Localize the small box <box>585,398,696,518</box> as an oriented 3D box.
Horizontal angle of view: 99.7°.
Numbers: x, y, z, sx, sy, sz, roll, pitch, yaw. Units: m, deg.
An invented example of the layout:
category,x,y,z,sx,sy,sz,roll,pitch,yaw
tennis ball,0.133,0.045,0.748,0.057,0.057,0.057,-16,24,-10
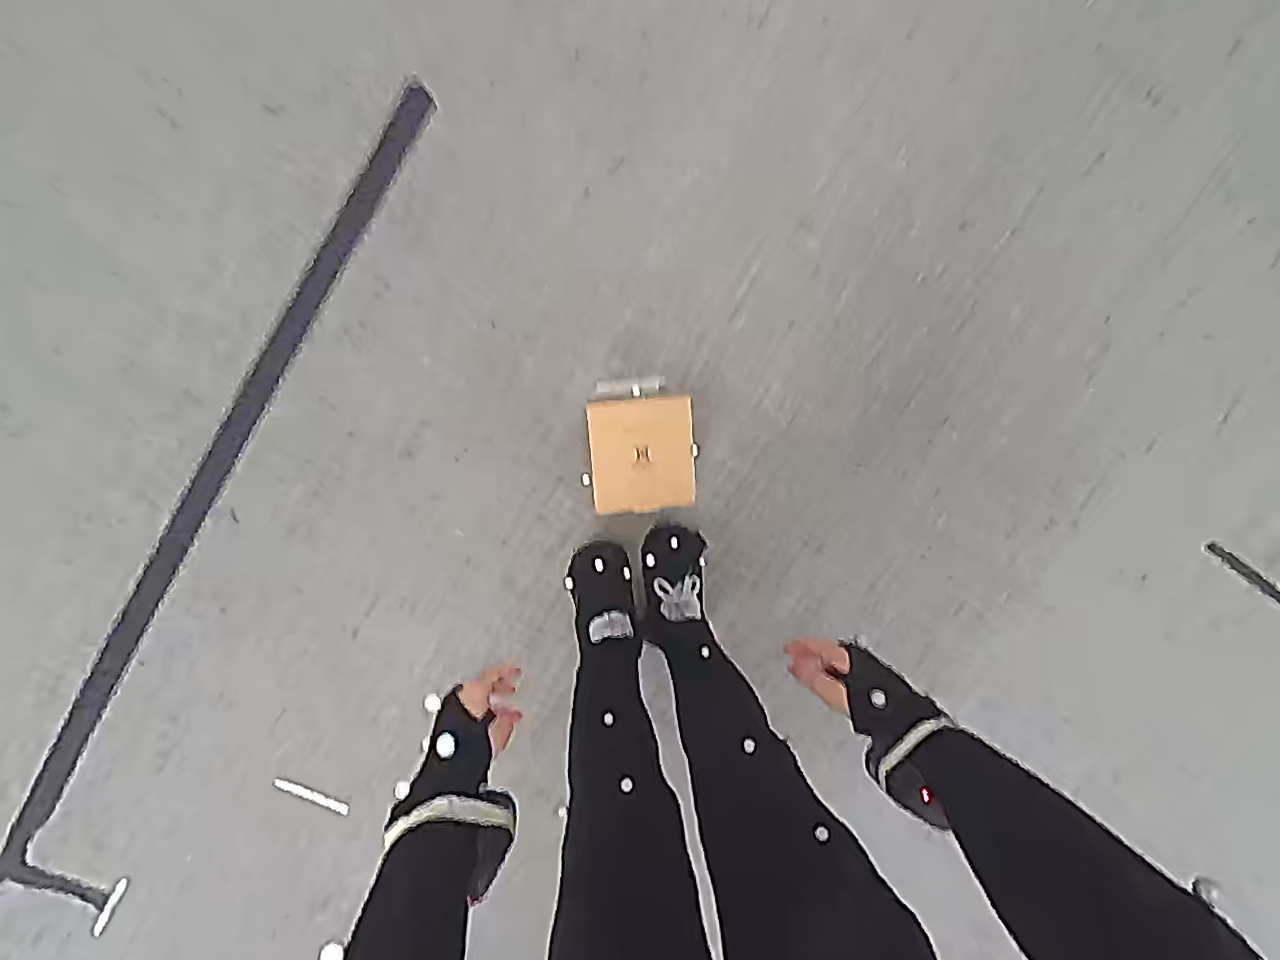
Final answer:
category,x,y,z,sx,sy,sz,roll,pitch,yaw
small box,-0.004,-0.046,0.933,0.168,0.176,0.179,-6,101,-7
